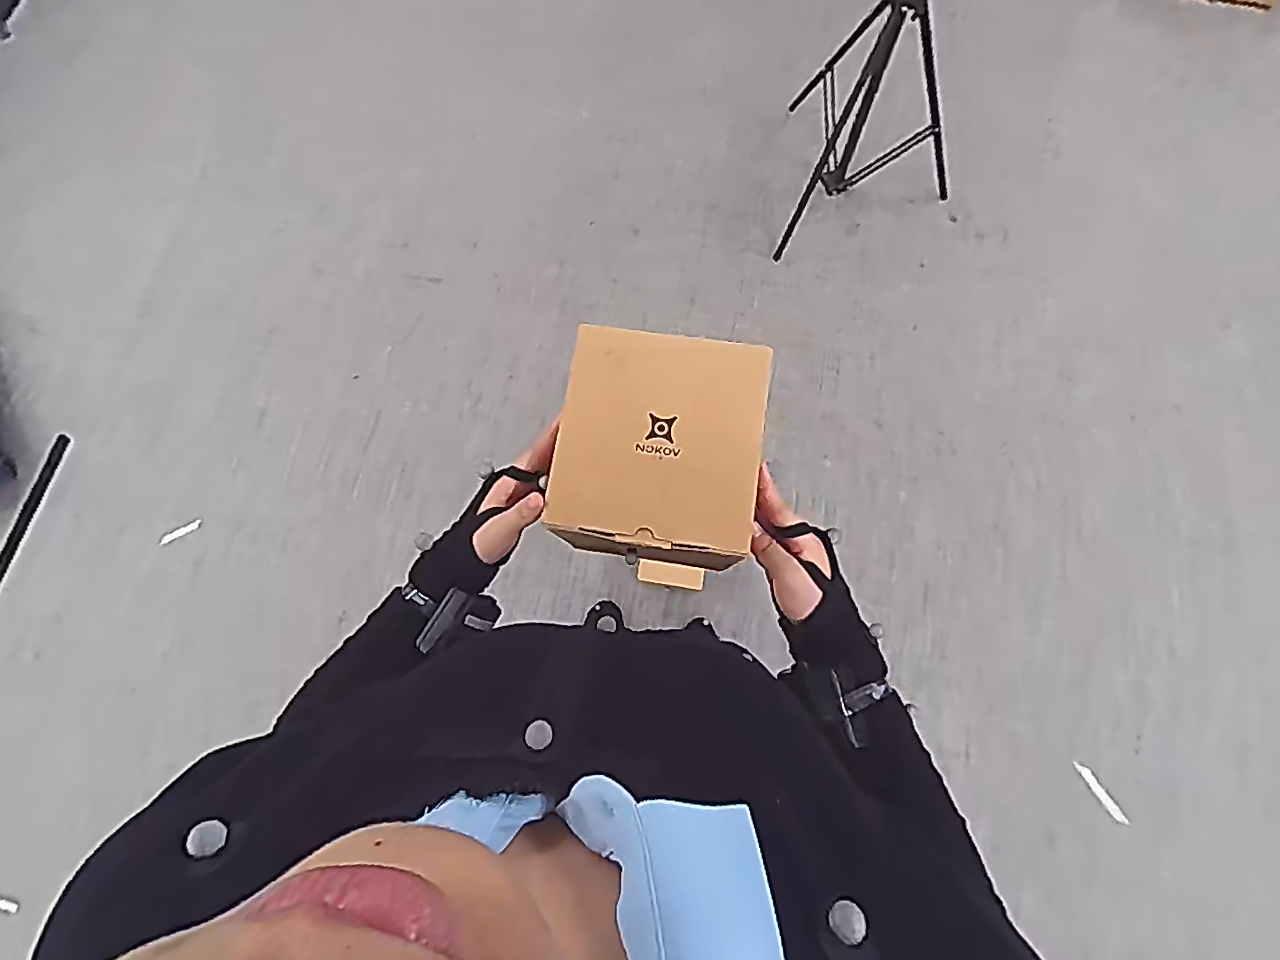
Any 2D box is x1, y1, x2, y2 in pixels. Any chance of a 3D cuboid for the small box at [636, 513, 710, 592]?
[{"bbox_3d":[0.089,0.198,1.438,0.168,0.176,0.179,9,76,6],"label":"small box"}]
